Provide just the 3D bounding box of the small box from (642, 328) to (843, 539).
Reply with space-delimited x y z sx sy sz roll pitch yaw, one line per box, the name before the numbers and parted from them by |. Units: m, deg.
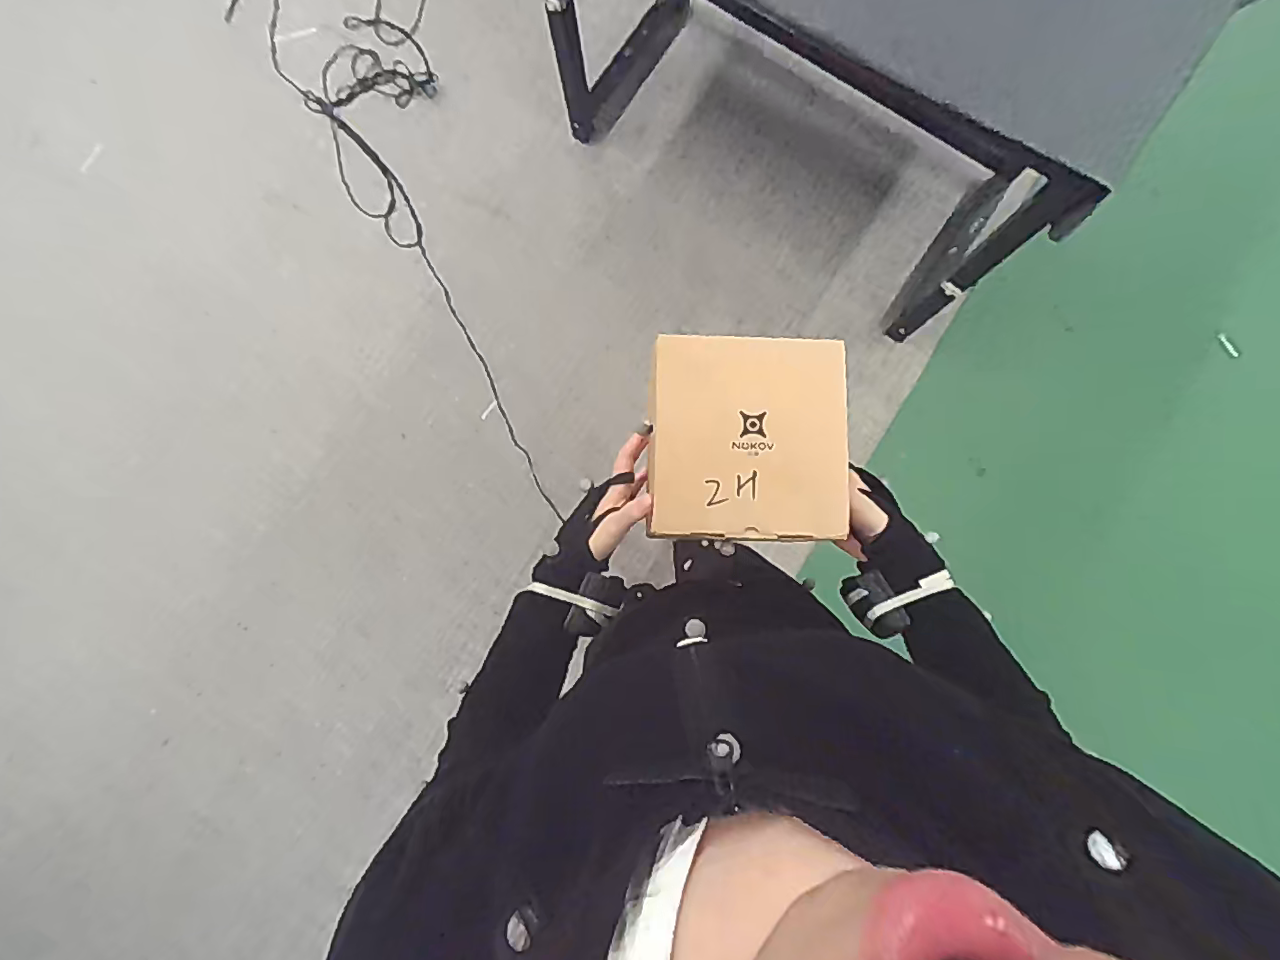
small box | 0.089 -0.034 0.541 0.168 0.176 0.179 2 83 -1
